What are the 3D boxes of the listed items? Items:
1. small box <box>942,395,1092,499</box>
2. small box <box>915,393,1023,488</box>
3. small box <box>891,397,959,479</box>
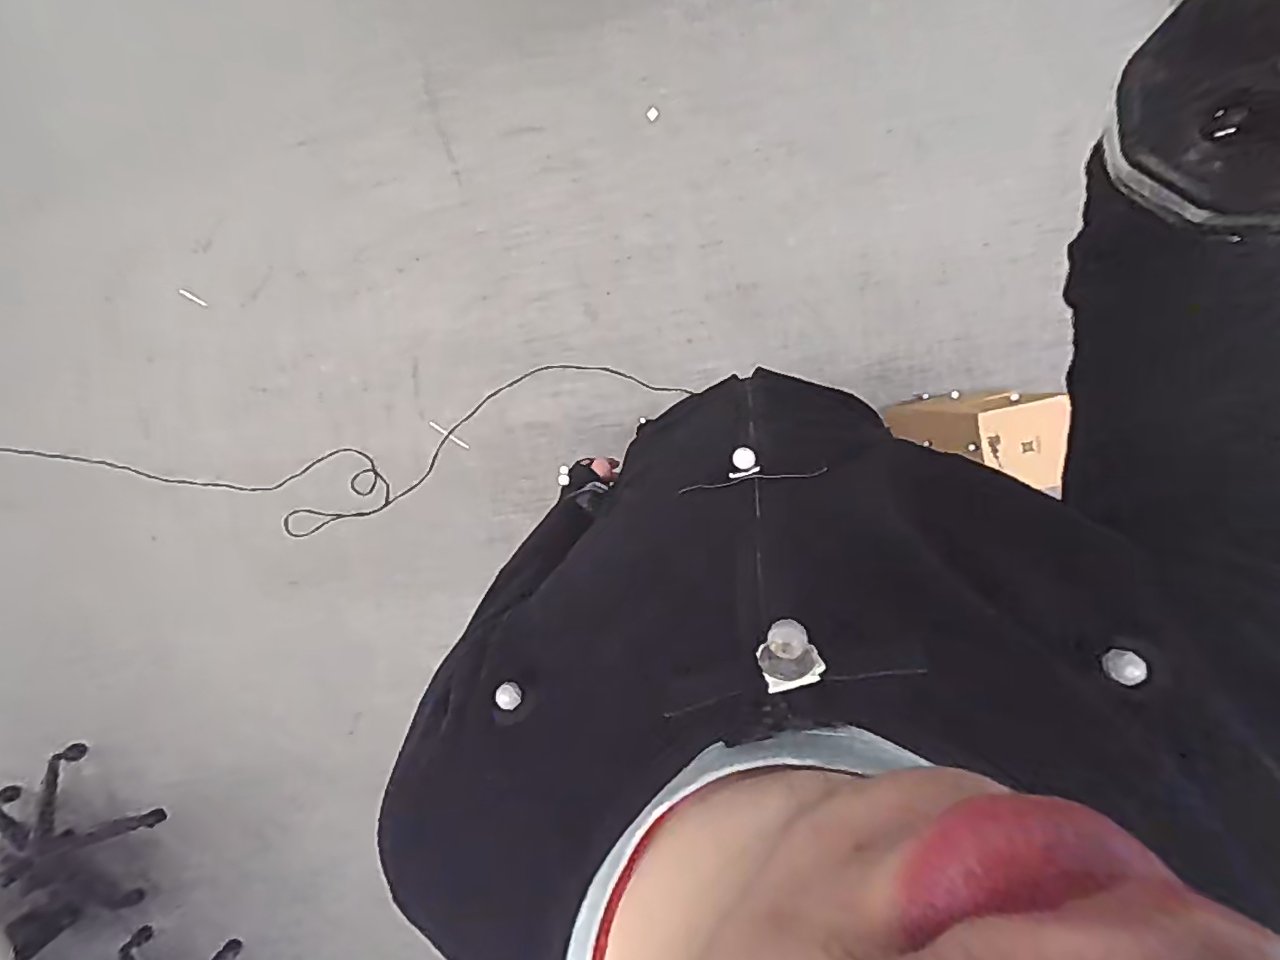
[{"bbox_3d":[0.735,-0.073,1.069,0.179,0.176,0.168,-12,97,7],"label":"small box"},{"bbox_3d":[0.752,-0.096,1.230,0.168,0.176,0.179,-14,96,8],"label":"small box"},{"bbox_3d":[0.771,-0.114,1.392,0.168,0.176,0.179,-14,95,8],"label":"small box"}]
